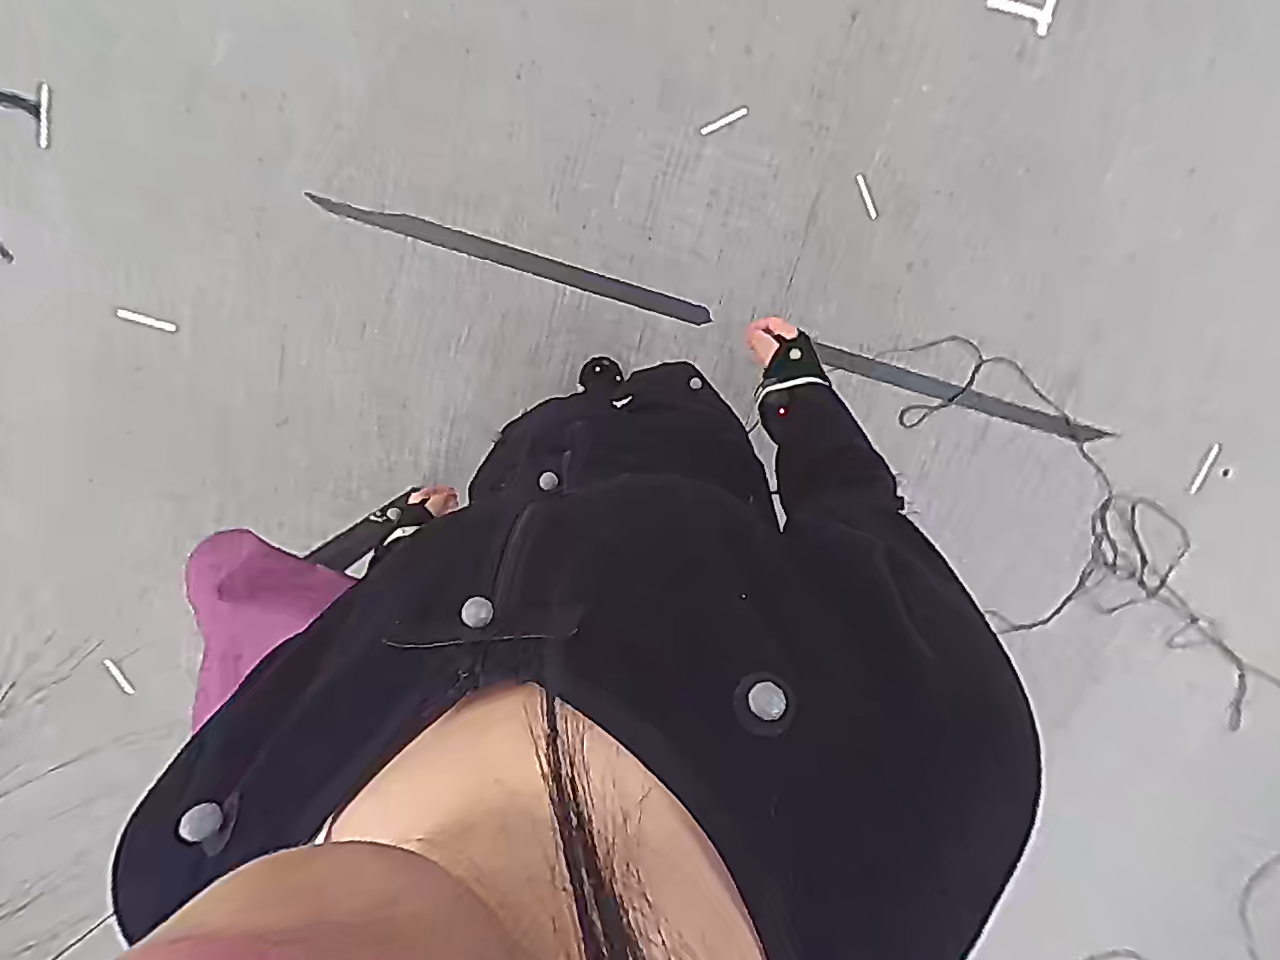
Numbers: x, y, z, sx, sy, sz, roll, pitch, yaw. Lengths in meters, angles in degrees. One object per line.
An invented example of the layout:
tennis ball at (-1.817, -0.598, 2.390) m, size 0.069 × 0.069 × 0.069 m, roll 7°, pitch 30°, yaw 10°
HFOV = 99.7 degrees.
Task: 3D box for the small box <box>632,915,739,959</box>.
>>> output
small box at (0.070, 0.861, 0.876) m, size 0.168 × 0.176 × 0.179 m, roll 14°, pitch 100°, yaw -3°
